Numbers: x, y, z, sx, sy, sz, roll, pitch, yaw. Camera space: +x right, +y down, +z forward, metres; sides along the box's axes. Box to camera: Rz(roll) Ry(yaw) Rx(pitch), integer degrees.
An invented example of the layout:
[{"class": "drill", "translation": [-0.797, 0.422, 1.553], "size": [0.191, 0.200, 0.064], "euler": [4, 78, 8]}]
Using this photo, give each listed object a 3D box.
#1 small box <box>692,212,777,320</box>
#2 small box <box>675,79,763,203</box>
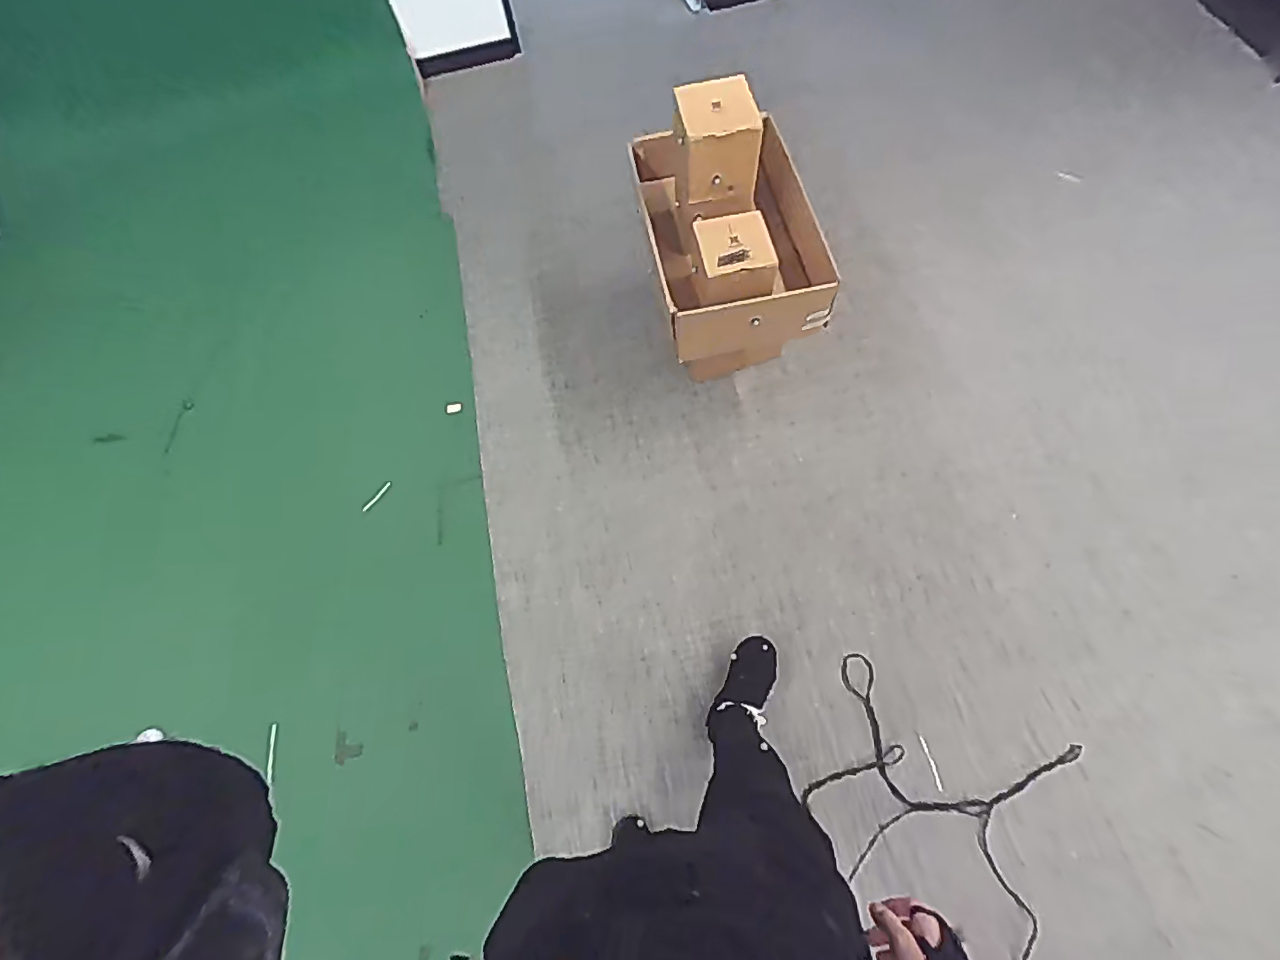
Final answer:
[{"class": "small box", "translation": [0.223, -0.512, 1.320], "size": [0.168, 0.176, 0.179], "euler": [-10, 66, 0]}, {"class": "small box", "translation": [0.176, -0.788, 1.267], "size": [0.168, 0.176, 0.179], "euler": [-10, 69, 0]}]
